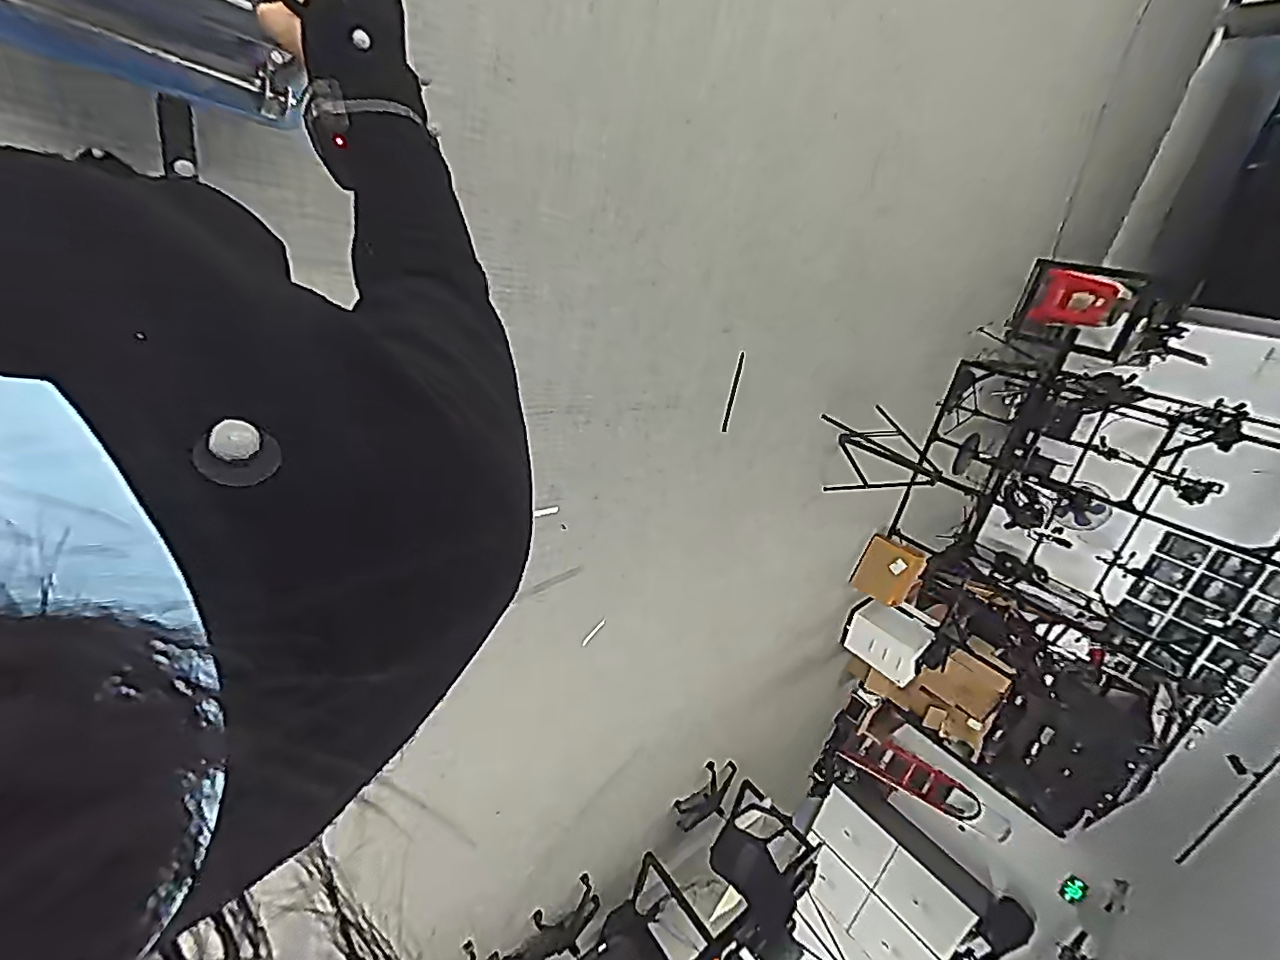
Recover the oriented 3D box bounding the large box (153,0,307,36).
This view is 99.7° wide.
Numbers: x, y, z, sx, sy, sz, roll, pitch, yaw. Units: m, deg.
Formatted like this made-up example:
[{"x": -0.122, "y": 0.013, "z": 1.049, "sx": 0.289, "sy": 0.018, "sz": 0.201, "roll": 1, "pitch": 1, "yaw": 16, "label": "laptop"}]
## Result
[{"x": -0.663, "y": -0.801, "z": 0.633, "sx": 0.408, "sy": 0.320, "sz": 0.320, "roll": -9, "pitch": 121, "yaw": -42, "label": "large box"}]
